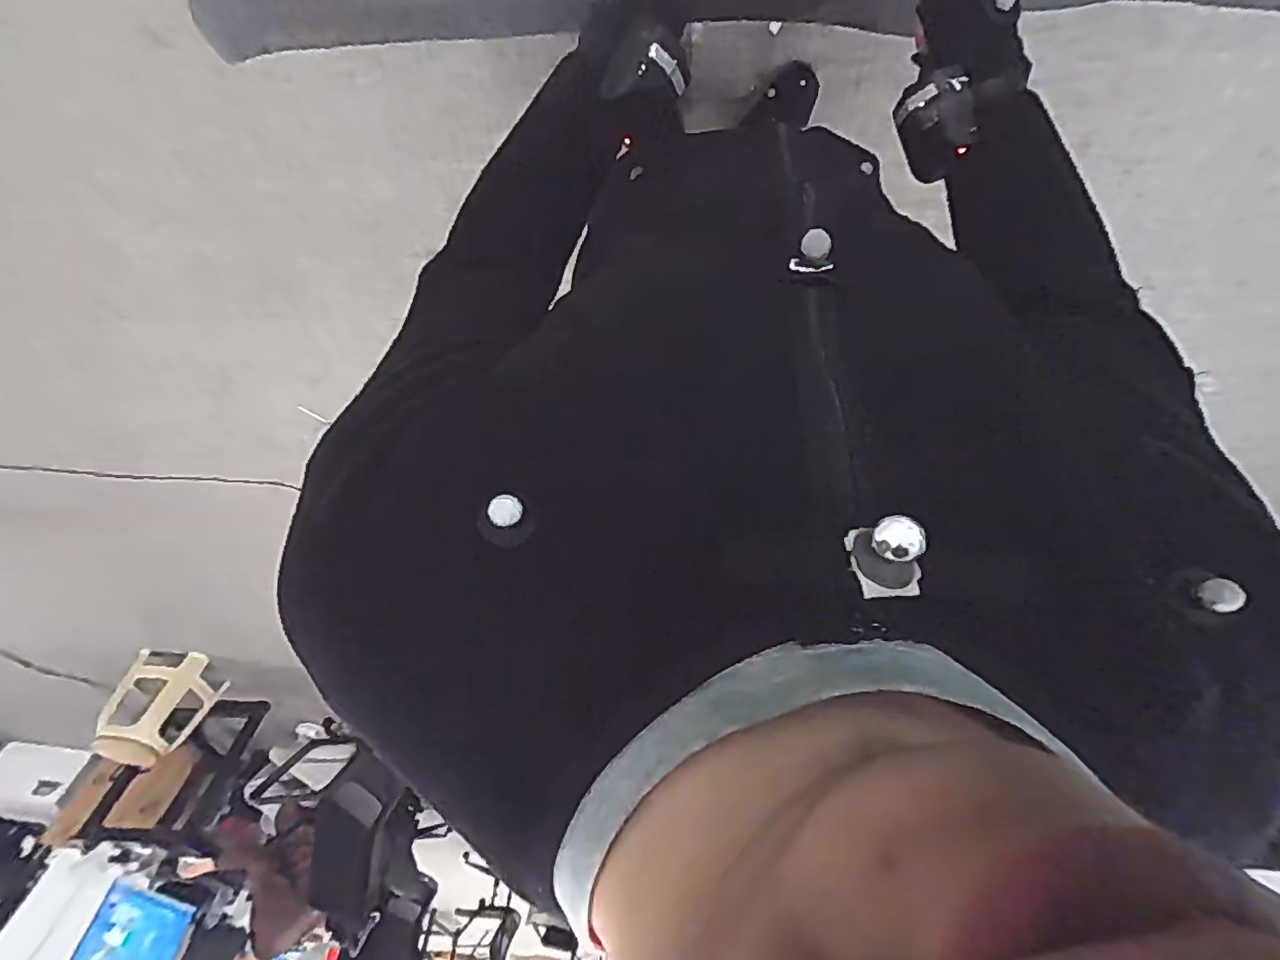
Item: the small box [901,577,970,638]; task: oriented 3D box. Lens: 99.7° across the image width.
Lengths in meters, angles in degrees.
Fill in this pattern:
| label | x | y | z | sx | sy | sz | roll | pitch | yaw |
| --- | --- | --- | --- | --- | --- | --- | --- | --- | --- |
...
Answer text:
| label | x | y | z | sx | sy | sz | roll | pitch | yaw |
| --- | --- | --- | --- | --- | --- | --- | --- | --- | --- |
| small box | 1.131 | 0.487 | 2.083 | 0.168 | 0.176 | 0.179 | -1 | 129 | 5 |
